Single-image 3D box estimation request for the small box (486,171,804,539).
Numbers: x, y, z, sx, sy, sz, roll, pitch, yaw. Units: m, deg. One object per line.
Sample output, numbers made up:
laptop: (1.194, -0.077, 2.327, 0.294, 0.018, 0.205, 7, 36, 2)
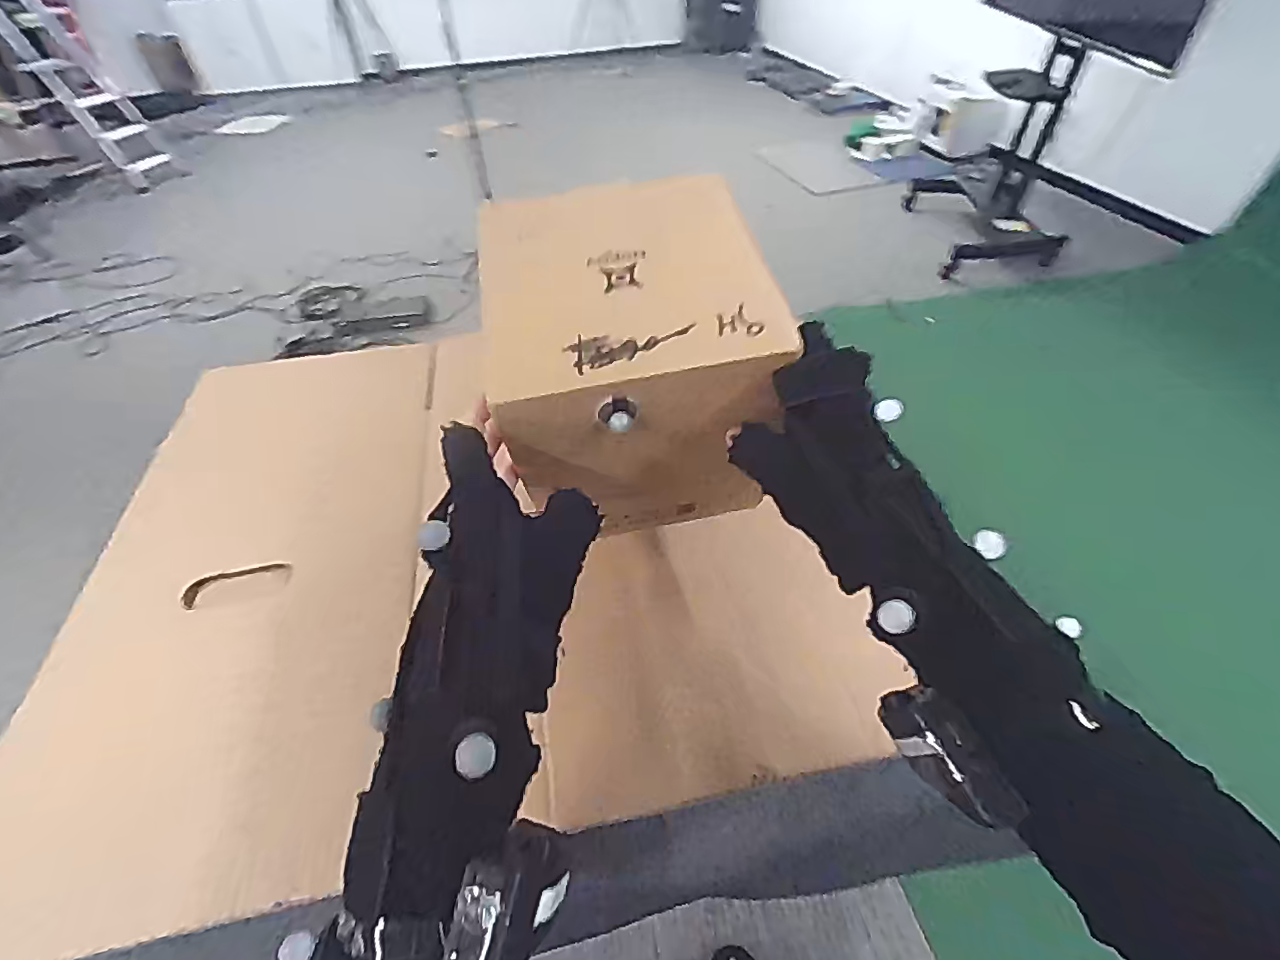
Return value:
small box: (-0.004, -0.081, 0.385, 0.168, 0.176, 0.179, -11, 59, -1)
